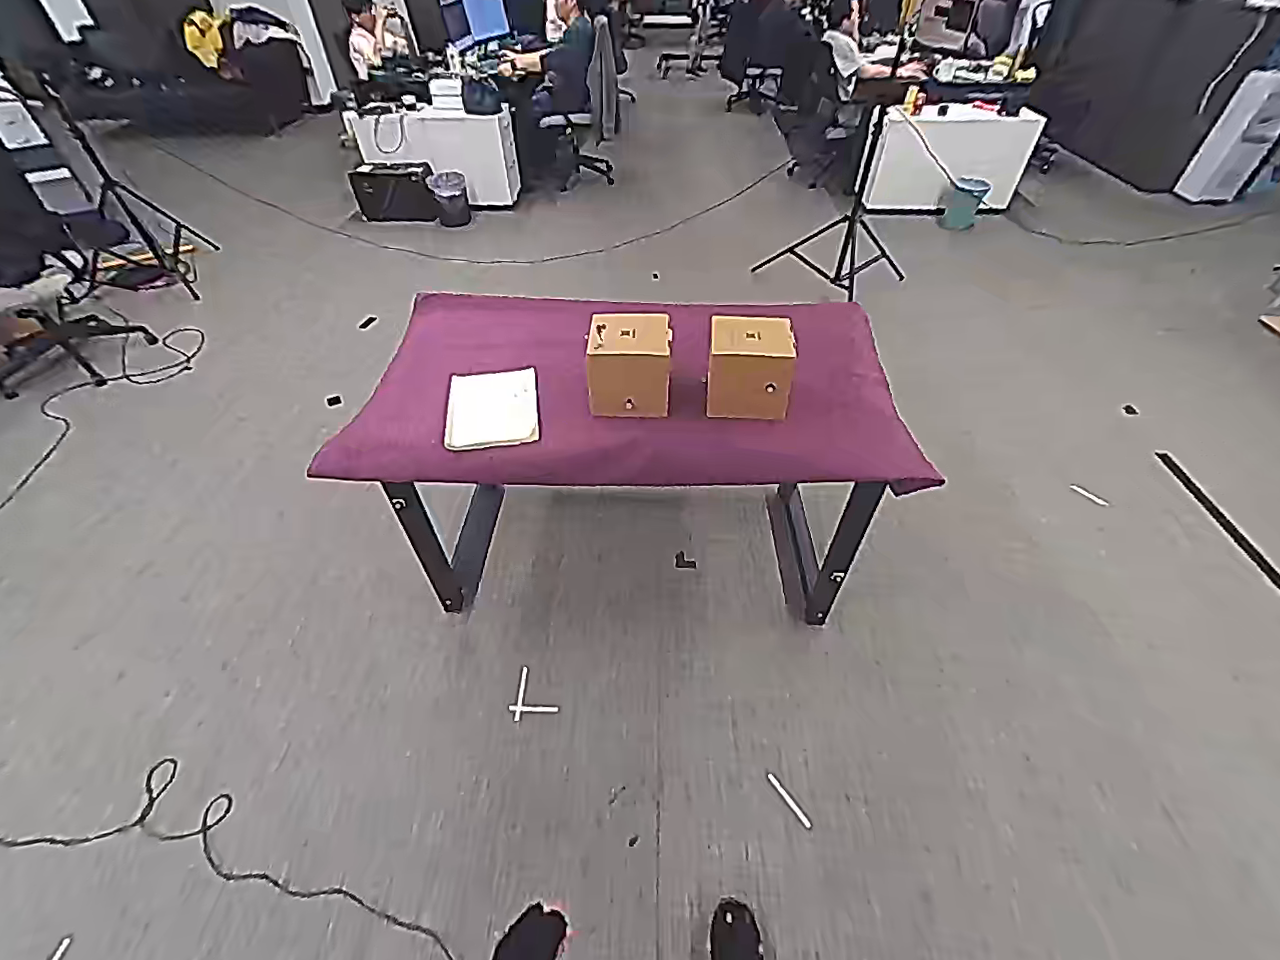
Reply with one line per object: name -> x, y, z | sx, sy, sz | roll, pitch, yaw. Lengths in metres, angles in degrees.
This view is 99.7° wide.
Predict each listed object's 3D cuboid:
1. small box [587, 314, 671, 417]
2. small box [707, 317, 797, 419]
small box -> -0.021, -0.257, 1.227 | 0.179, 0.176, 0.168 | 1, 45, 1
small box -> 0.245, -0.251, 1.219 | 0.179, 0.176, 0.168 | 2, 44, 5
